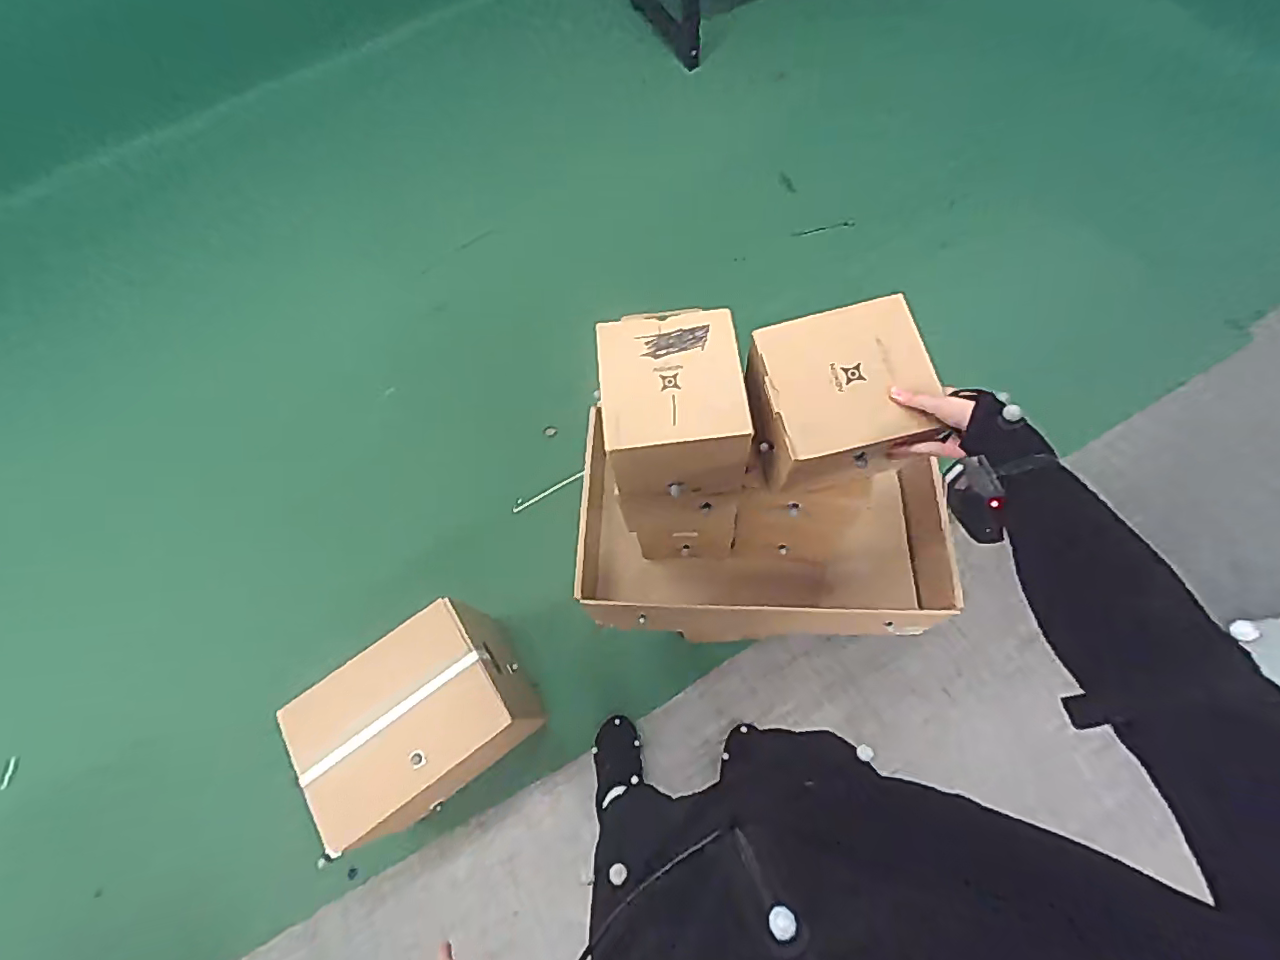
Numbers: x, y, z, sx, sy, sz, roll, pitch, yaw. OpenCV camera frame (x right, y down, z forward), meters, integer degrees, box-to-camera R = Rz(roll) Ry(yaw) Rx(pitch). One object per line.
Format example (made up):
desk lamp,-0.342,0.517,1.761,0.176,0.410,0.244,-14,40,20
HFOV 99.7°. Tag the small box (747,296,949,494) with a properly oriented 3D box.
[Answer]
small box,0.236,-0.092,0.672,0.179,0.176,0.168,-13,72,3
